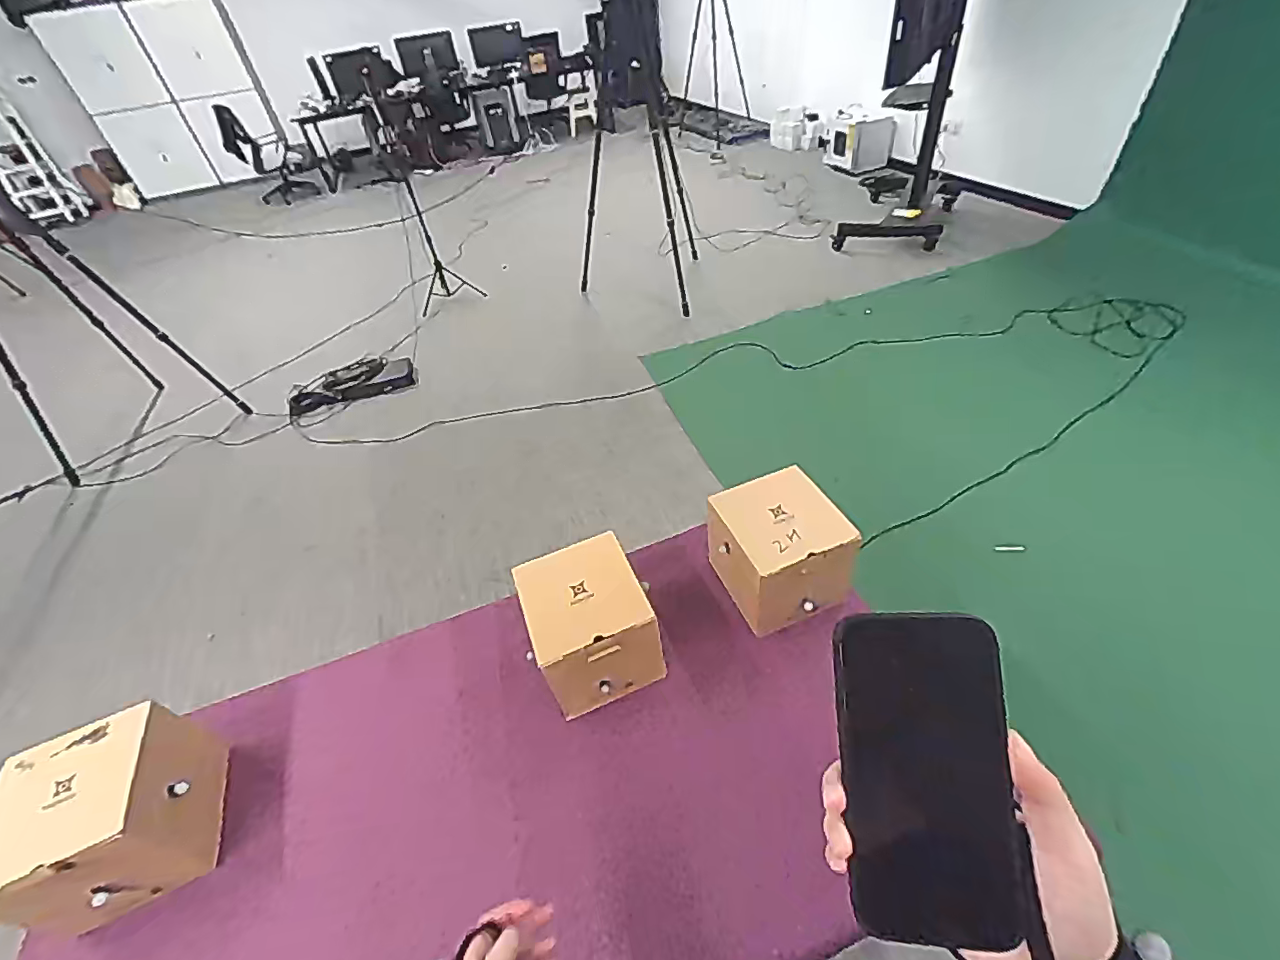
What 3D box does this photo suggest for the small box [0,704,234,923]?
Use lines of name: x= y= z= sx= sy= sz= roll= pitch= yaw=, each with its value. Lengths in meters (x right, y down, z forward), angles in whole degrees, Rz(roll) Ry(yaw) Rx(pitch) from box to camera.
small box: x=-0.664 y=0.432 z=0.697 sx=0.168 sy=0.176 sz=0.179 roll=-22 pitch=46 yaw=-14

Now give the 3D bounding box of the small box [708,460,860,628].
small box: x=0.221 y=0.103 z=0.873 sx=0.168 sy=0.176 sz=0.179 roll=-20 pitch=45 yaw=-9

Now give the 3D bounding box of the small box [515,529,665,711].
small box: x=-0.073 y=0.212 z=0.821 sx=0.168 sy=0.176 sz=0.179 roll=-21 pitch=45 yaw=-11
